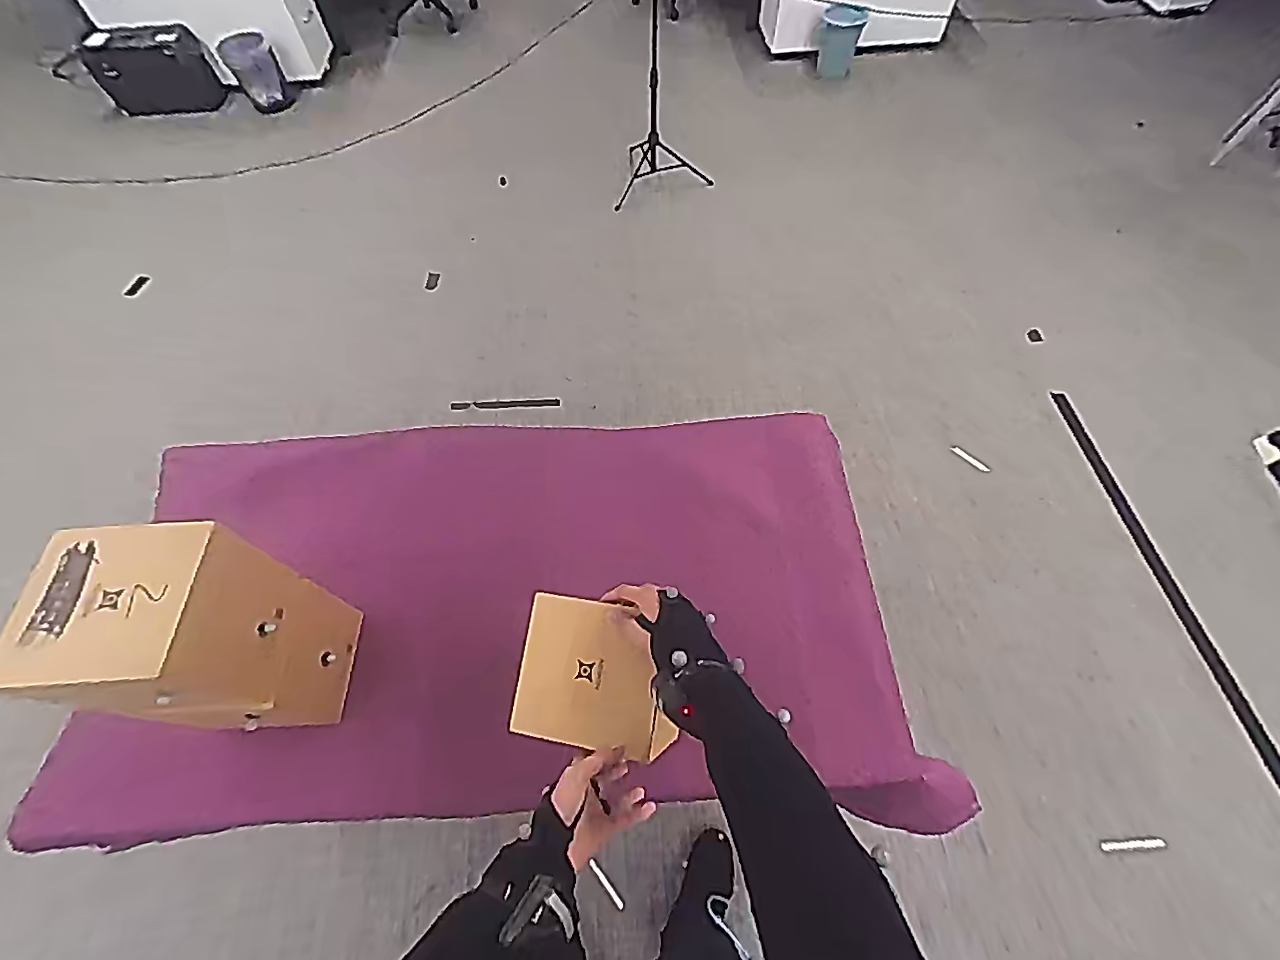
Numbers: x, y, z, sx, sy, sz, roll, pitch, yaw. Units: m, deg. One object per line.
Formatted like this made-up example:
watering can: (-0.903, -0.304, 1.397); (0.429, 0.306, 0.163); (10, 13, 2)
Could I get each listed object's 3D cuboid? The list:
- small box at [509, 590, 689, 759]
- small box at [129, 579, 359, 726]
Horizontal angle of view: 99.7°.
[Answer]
small box: (-0.042, 0.247, 0.709); (0.179, 0.176, 0.168); (5, 74, 15)
small box: (-0.525, 0.243, 0.752); (0.179, 0.176, 0.168); (-2, 60, 0)
